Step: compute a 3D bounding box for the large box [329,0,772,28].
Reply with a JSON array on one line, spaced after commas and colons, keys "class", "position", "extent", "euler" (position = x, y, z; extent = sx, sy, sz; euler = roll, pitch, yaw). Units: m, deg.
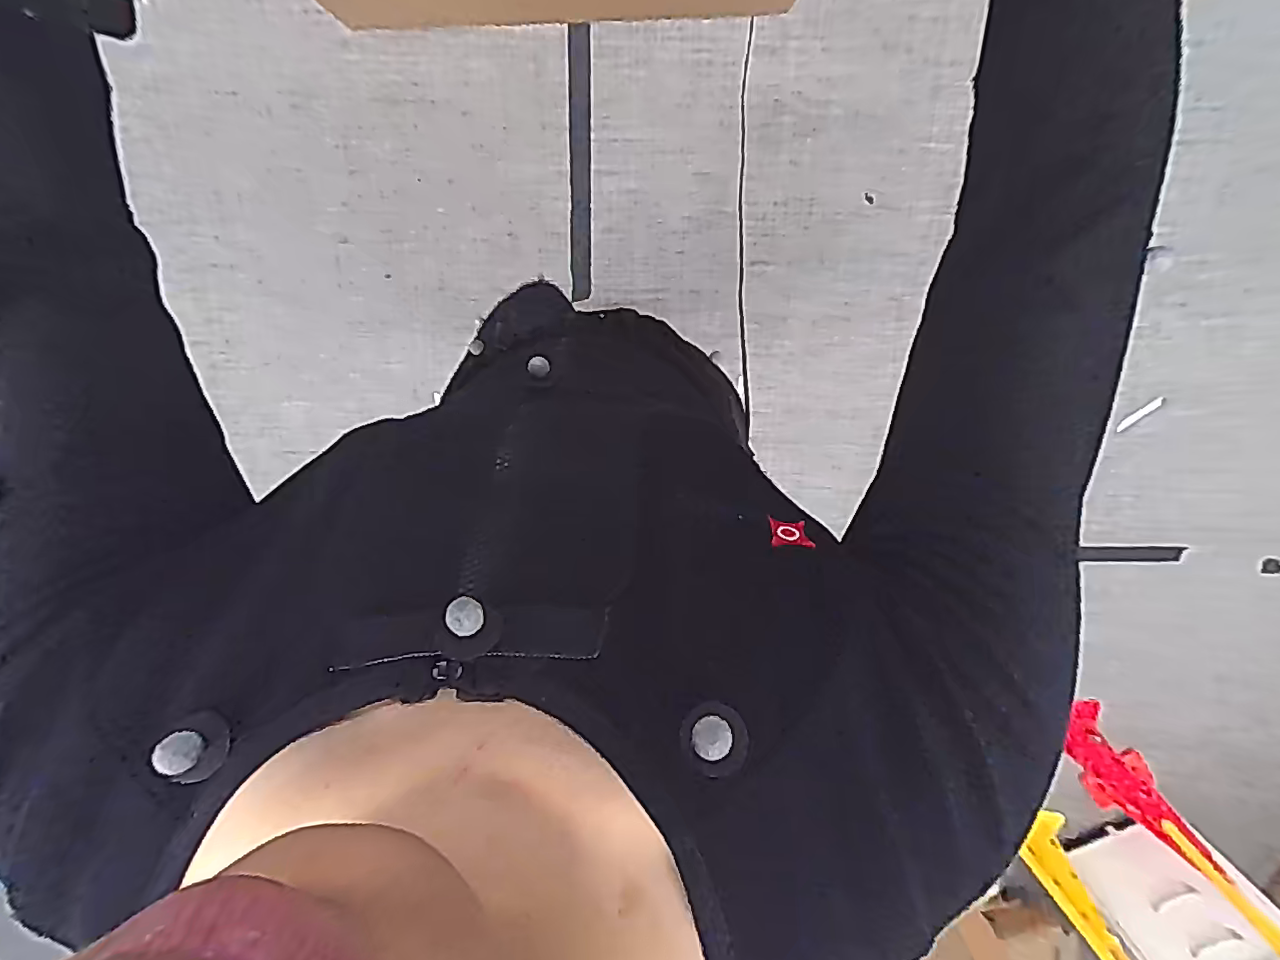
[{"class": "large box", "position": [-0.066, -0.508, 0.299], "extent": [0.408, 0.320, 0.320], "euler": [-4, 113, -1]}]
